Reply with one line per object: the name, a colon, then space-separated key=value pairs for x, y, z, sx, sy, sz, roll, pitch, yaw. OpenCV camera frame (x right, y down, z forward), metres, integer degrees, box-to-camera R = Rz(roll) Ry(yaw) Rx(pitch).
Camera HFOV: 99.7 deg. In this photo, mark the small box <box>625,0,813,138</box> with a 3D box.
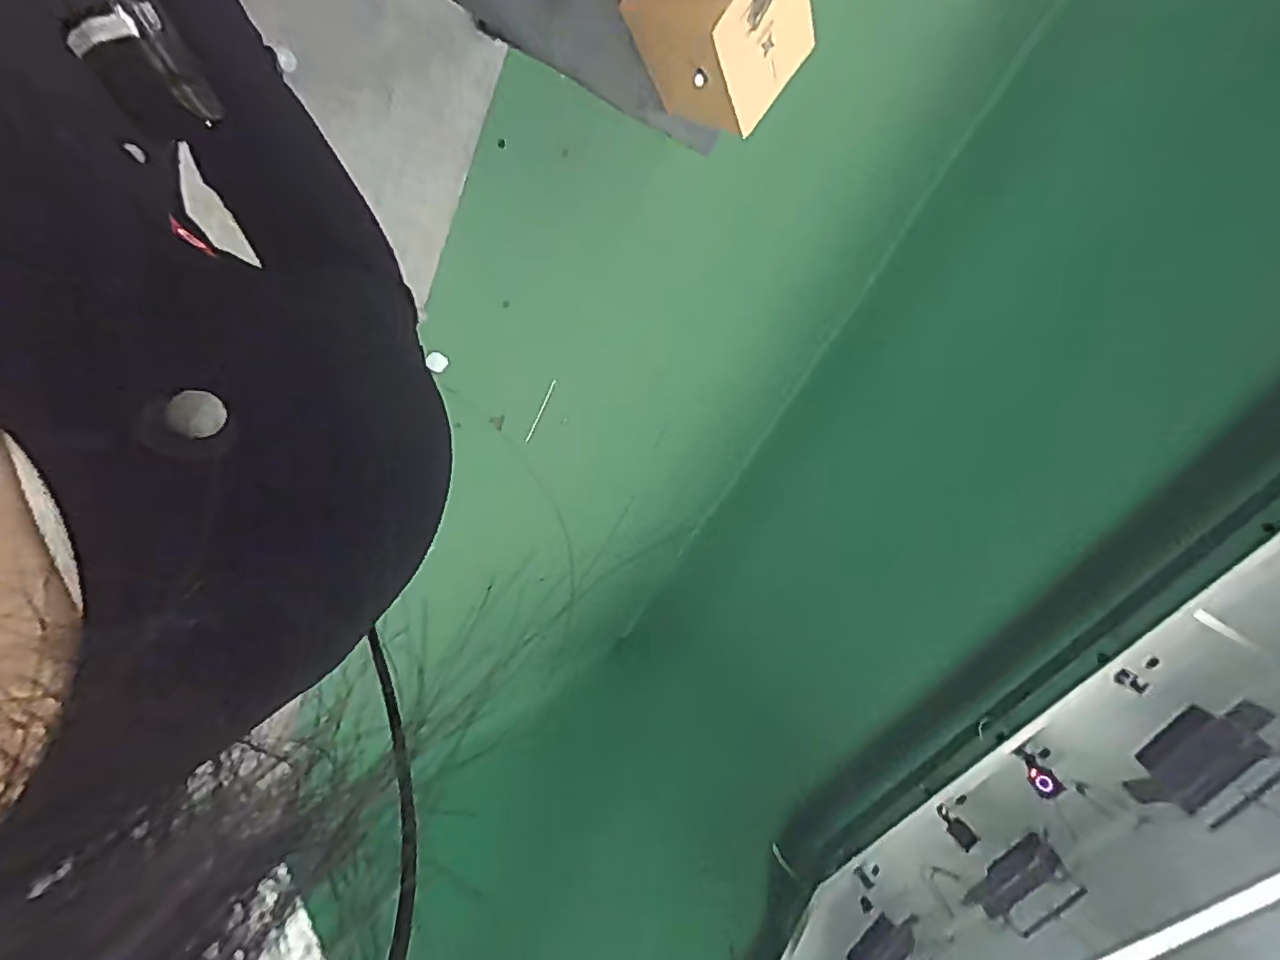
small box: x=0.109 y=-0.626 z=0.746 sx=0.168 sy=0.176 sz=0.179 roll=-52 pitch=153 yaw=6
